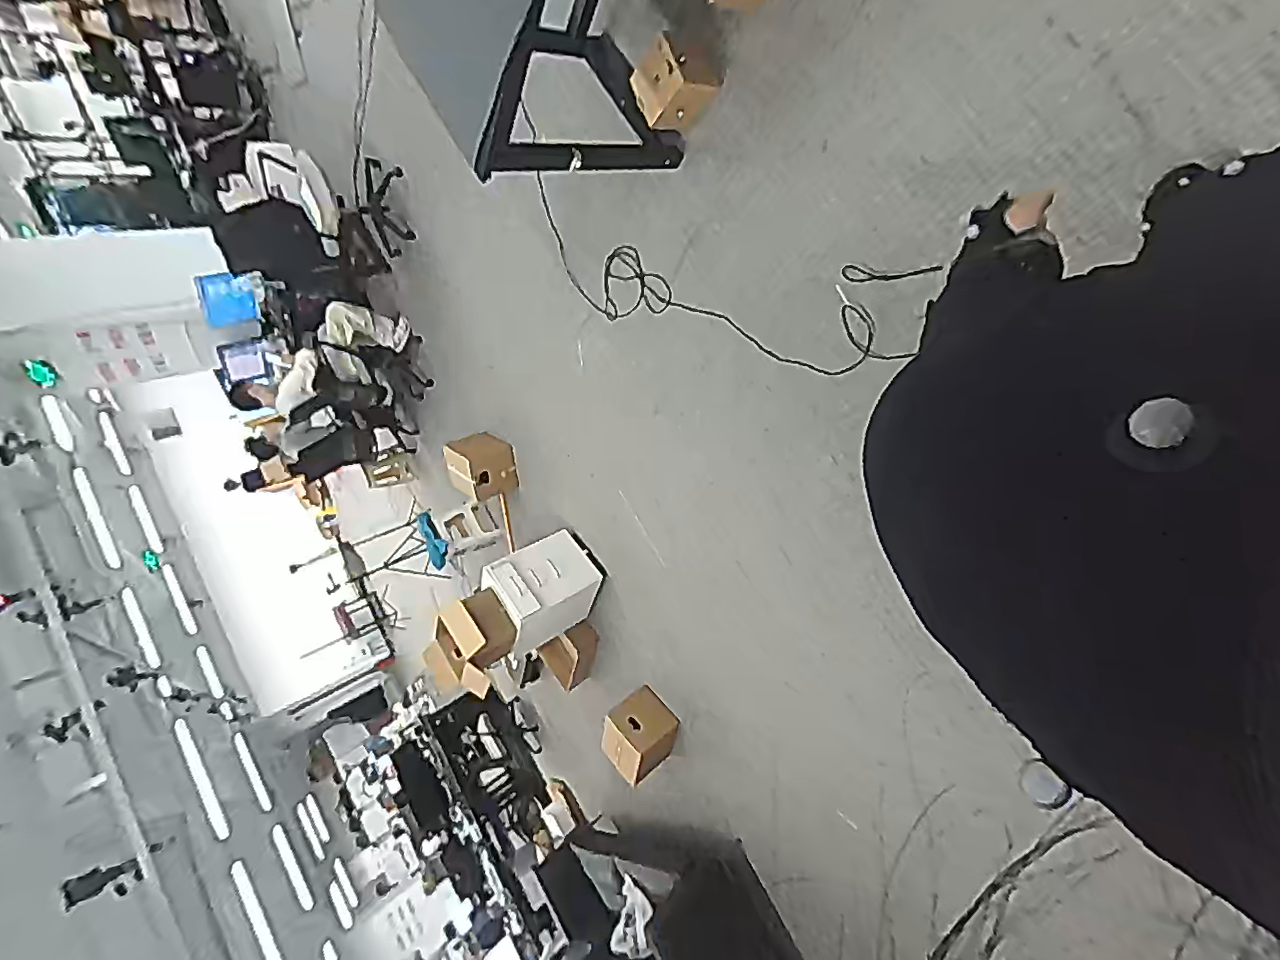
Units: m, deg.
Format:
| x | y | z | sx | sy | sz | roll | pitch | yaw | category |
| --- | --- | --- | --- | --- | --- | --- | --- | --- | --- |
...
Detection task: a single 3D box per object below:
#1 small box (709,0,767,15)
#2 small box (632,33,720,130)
| x | y | z | sx | sy | sz | roll | pitch | yaw | category |
| --- | --- | --- | --- | --- | --- | --- | --- | --- | --- |
| 0.268 | -1.324 | 1.355 | 0.179 | 0.176 | 0.168 | -8 | 102 | 55 | small box |
| 0.109 | -1.194 | 1.635 | 0.179 | 0.176 | 0.168 | -23 | 92 | 56 | small box |
